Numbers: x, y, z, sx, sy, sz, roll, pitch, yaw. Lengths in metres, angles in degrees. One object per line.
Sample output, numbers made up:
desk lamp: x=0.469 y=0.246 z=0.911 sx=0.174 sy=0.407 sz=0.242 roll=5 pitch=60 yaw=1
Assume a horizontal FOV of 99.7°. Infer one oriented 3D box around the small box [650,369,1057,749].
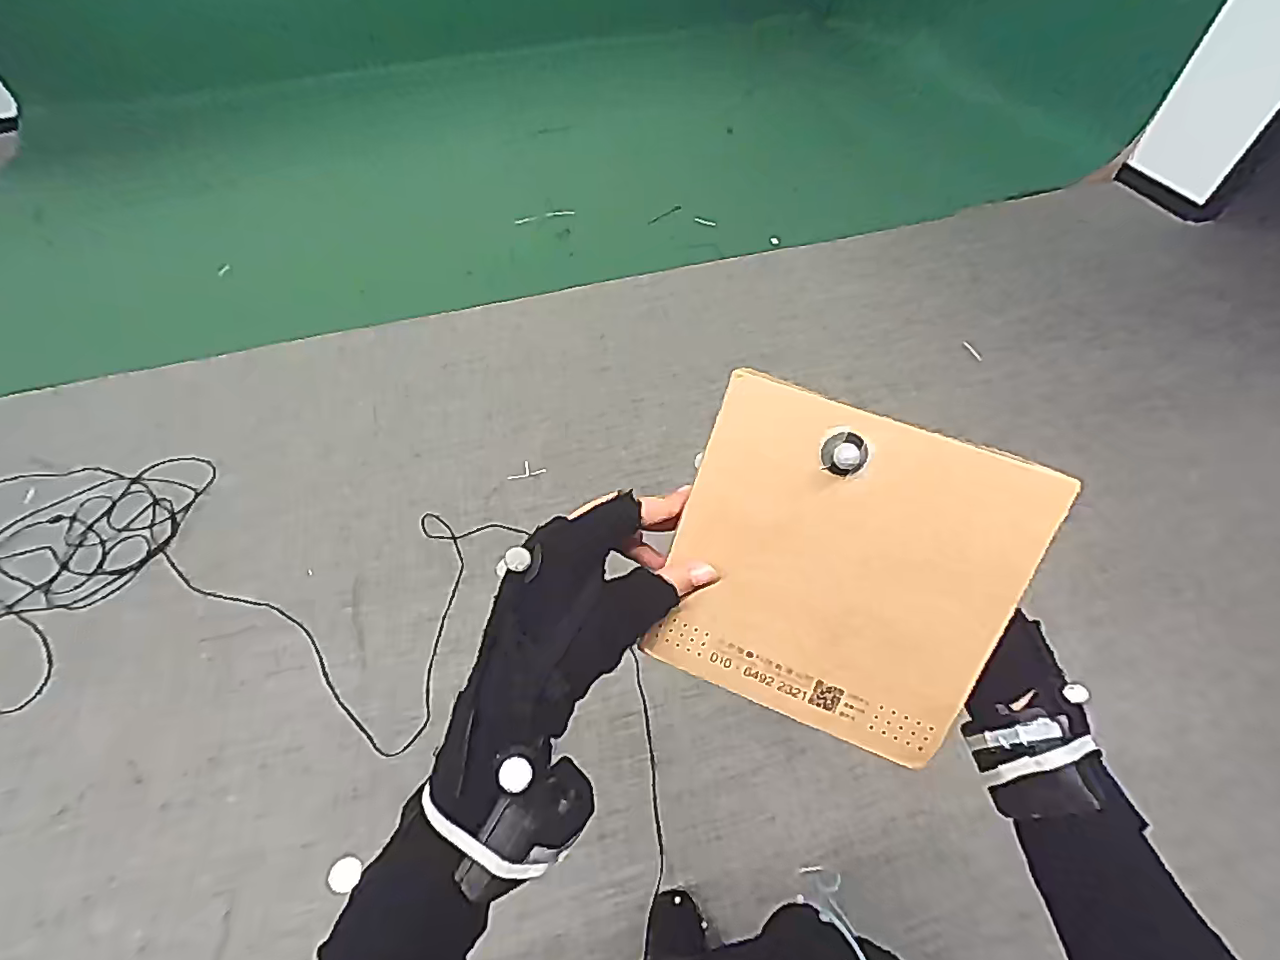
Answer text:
small box: x=0.118 y=0.035 z=0.366 sx=0.168 sy=0.176 sz=0.179 roll=20 pitch=14 yaw=10
